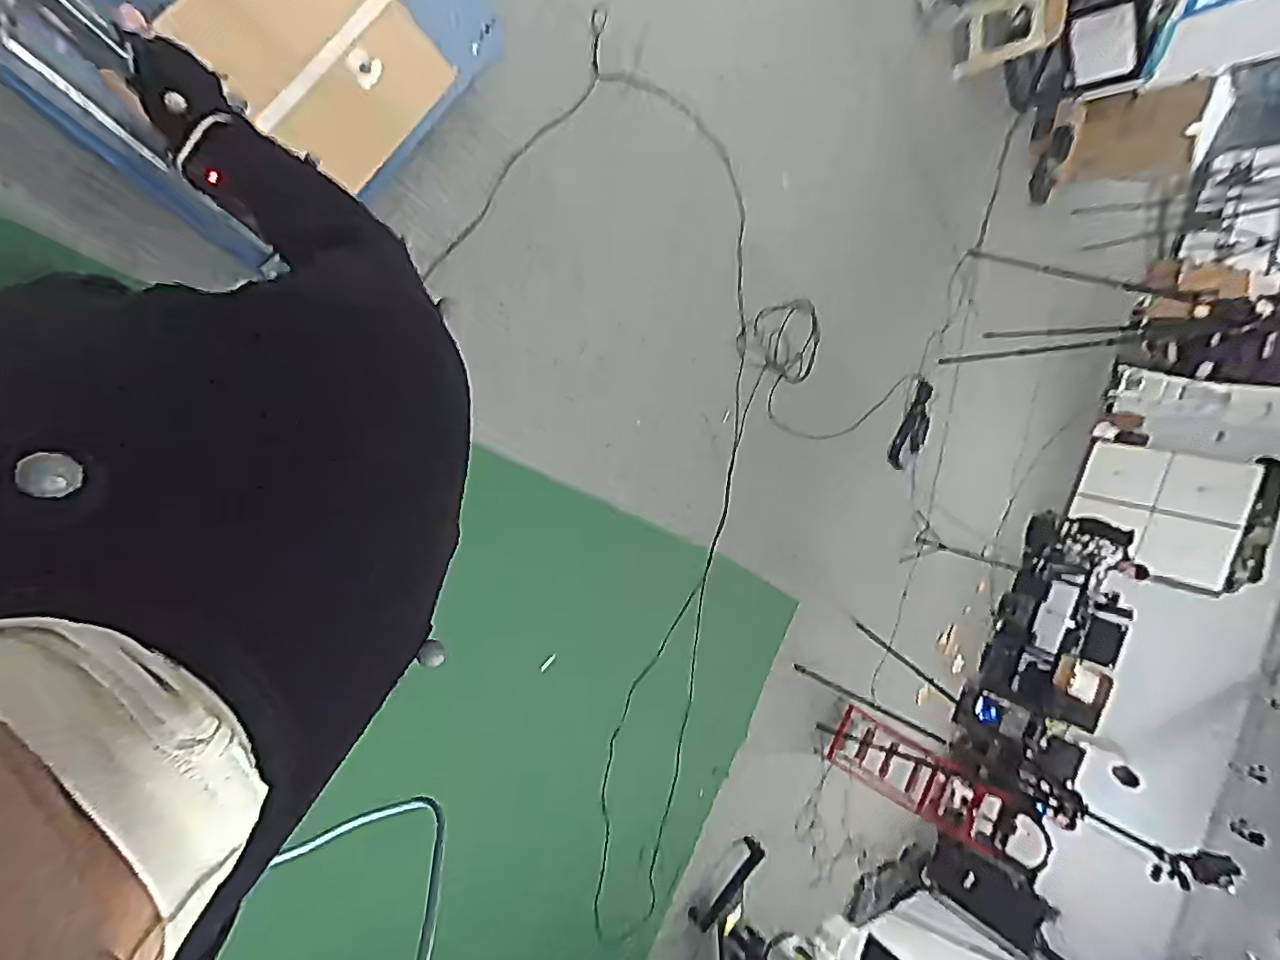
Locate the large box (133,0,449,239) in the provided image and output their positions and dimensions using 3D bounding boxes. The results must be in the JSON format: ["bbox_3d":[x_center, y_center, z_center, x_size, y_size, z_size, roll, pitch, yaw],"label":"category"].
[{"bbox_3d":[-0.652,-0.737,1.026,0.320,0.320,0.408,42,74,-42],"label":"large box"}]
